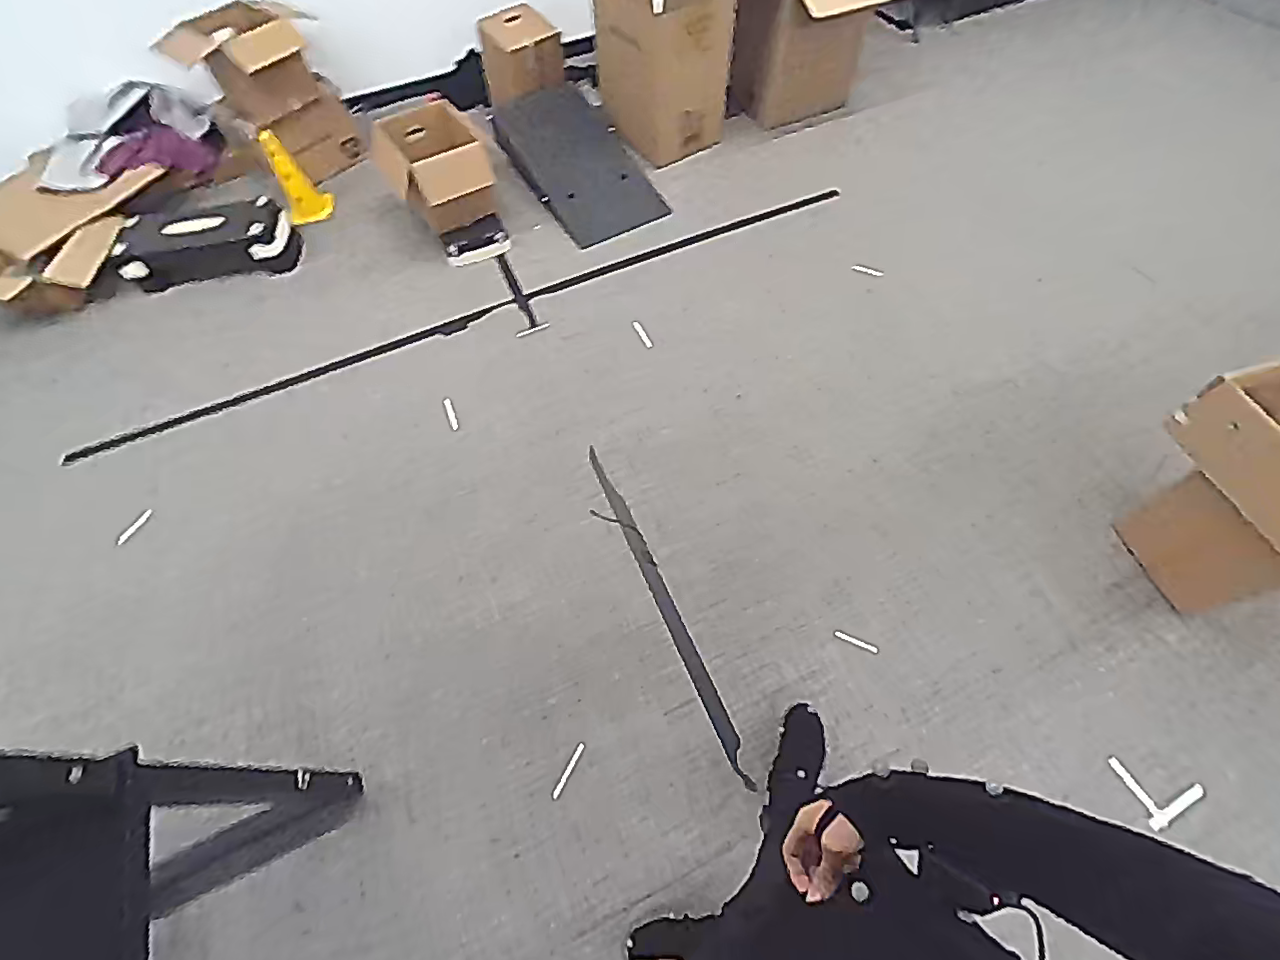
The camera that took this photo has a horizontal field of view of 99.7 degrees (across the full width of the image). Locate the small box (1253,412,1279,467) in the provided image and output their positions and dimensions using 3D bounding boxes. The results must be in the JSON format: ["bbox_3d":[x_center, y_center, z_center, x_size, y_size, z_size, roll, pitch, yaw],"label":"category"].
[{"bbox_3d":[1.579,-0.107,1.226,0.179,0.176,0.168,-16,61,-8],"label":"small box"}]
